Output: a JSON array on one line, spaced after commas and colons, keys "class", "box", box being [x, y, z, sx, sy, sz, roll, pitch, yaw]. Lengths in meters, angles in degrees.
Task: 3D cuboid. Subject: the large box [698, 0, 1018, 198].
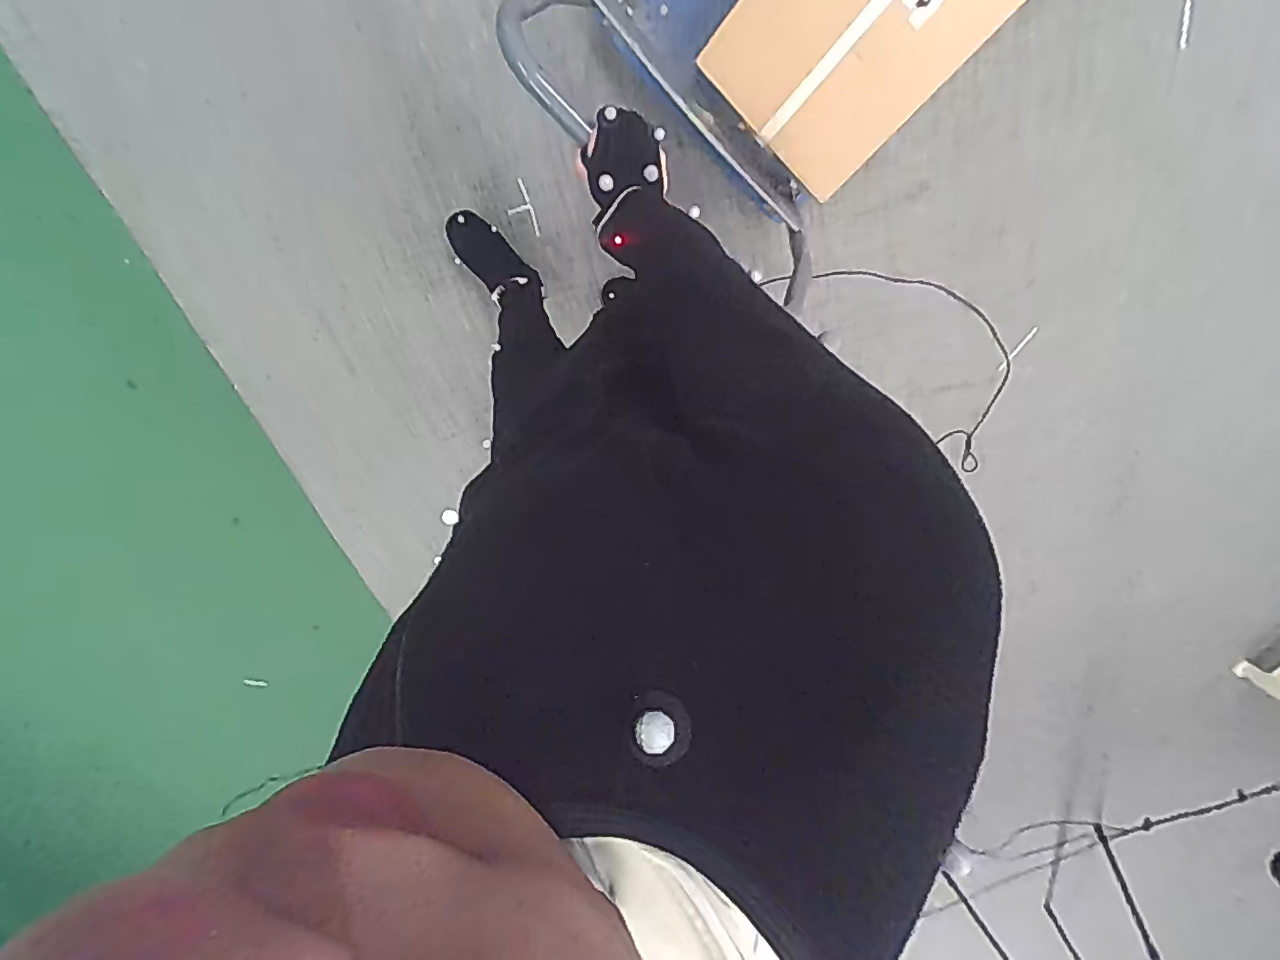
[{"class": "large box", "box": [0.346, -0.774, 0.915, 0.320, 0.320, 0.408, 38, 123, -20]}]
